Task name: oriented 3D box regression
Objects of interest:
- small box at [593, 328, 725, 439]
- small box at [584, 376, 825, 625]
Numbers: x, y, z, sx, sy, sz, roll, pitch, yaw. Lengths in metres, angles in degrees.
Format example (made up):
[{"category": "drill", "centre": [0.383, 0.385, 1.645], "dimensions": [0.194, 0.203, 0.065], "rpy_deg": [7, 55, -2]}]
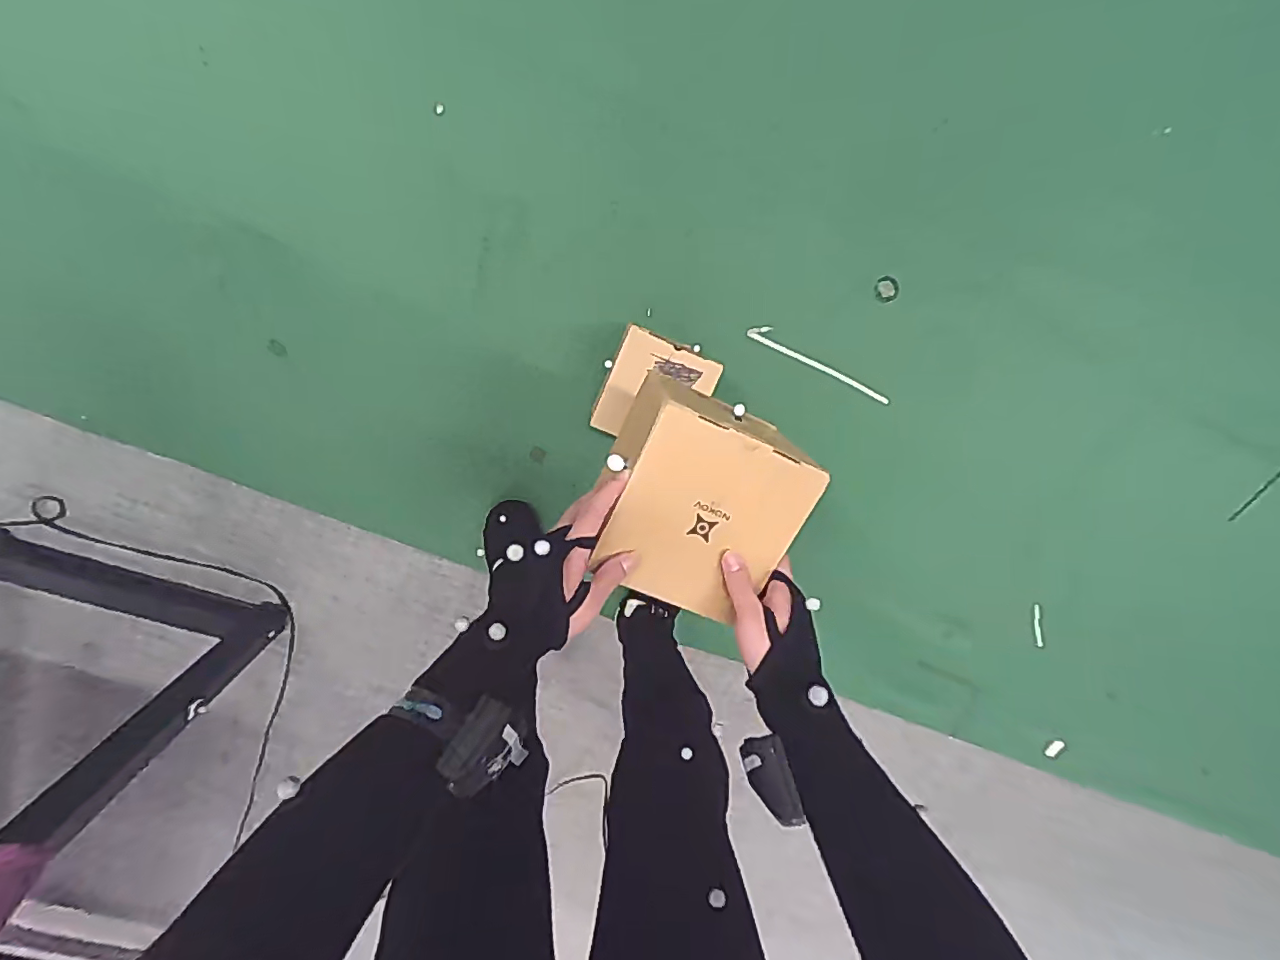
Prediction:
[{"category": "small box", "centre": [0.025, -0.155, 0.948], "dimensions": [0.168, 0.176, 0.179], "rpy_deg": [22, 105, -9]}, {"category": "small box", "centre": [0.054, 0.011, 0.564], "dimensions": [0.168, 0.176, 0.179], "rpy_deg": [23, 106, -11]}]
